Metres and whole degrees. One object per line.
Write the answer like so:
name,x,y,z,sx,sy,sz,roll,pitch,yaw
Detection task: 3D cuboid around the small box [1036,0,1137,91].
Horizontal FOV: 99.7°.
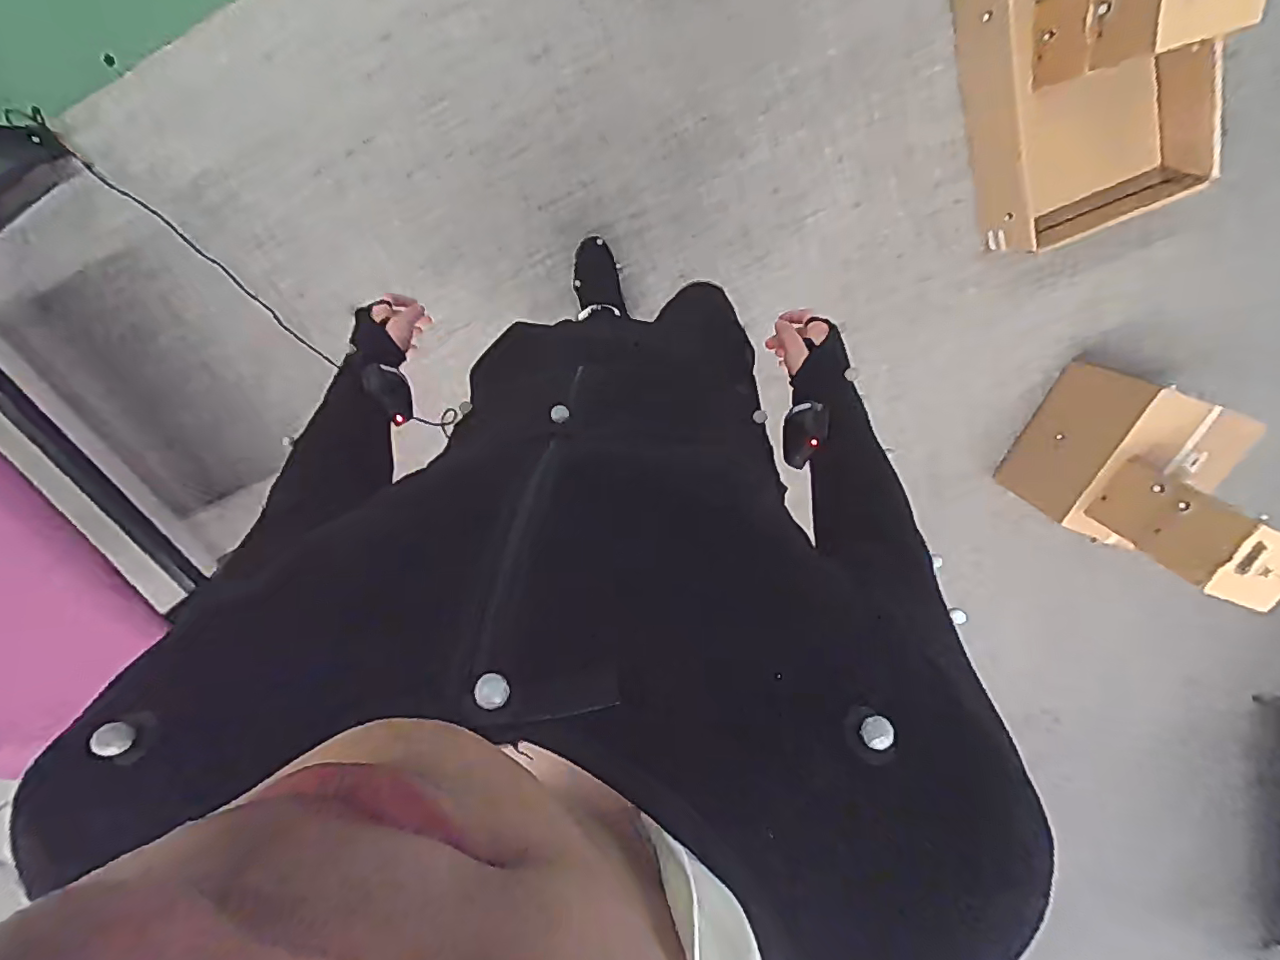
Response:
small box,0.974,-0.950,1.130,0.179,0.176,0.168,-17,116,9

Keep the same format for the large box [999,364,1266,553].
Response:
large box,1.320,-0.063,1.503,0.320,0.320,0.408,17,112,-8

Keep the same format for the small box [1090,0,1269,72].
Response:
small box,0.980,-0.878,0.983,0.179,0.176,0.168,-14,116,7

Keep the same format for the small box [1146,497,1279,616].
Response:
small box,1.260,0.155,1.151,0.179,0.176,0.168,18,113,-8
